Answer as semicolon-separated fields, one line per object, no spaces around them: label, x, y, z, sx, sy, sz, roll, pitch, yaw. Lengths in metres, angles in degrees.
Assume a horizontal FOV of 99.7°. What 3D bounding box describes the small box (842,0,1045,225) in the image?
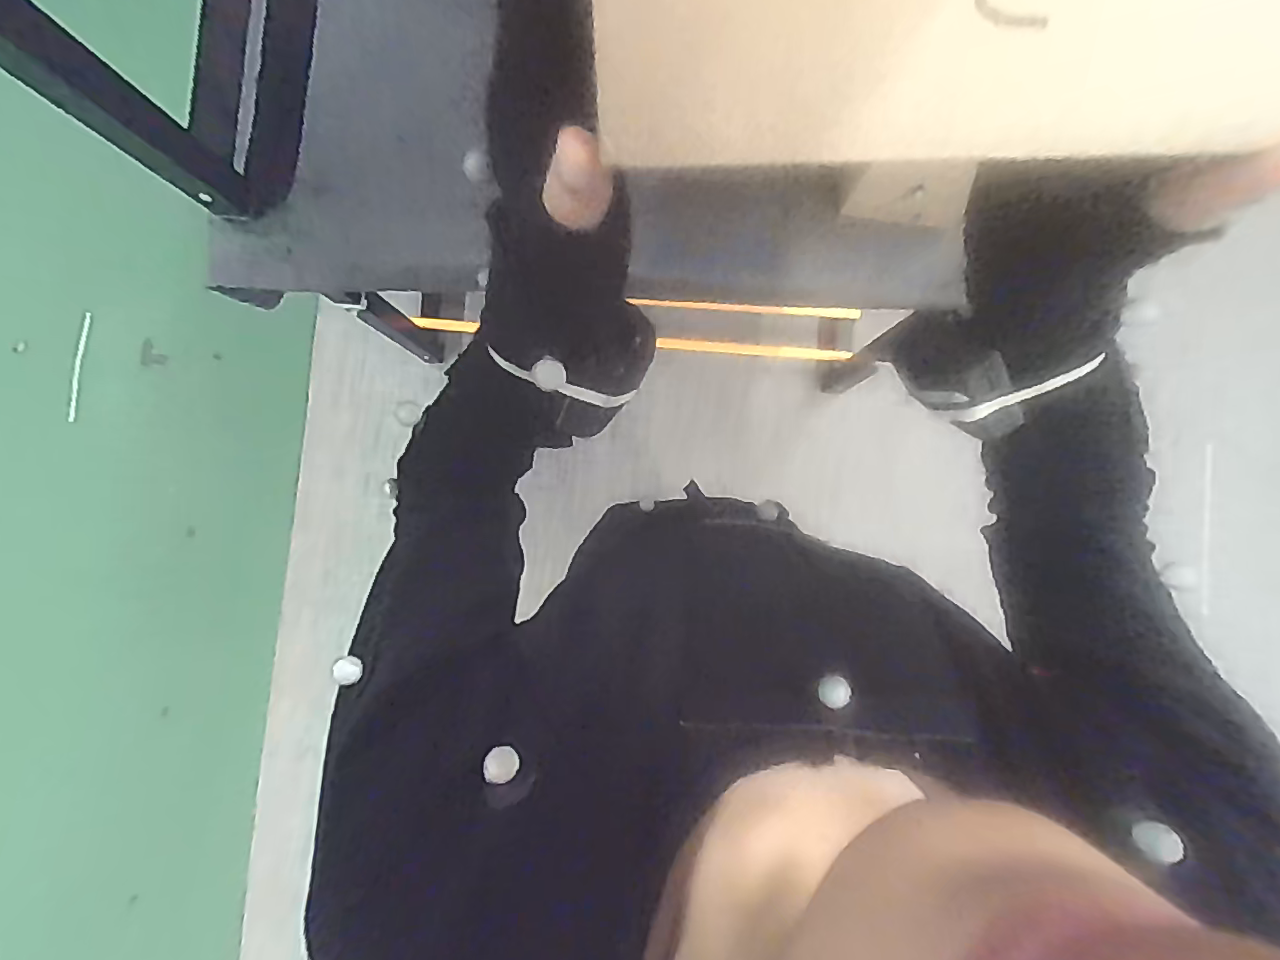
small box;0.380;-0.463;0.707;0.168;0.176;0.179;8;86;1
